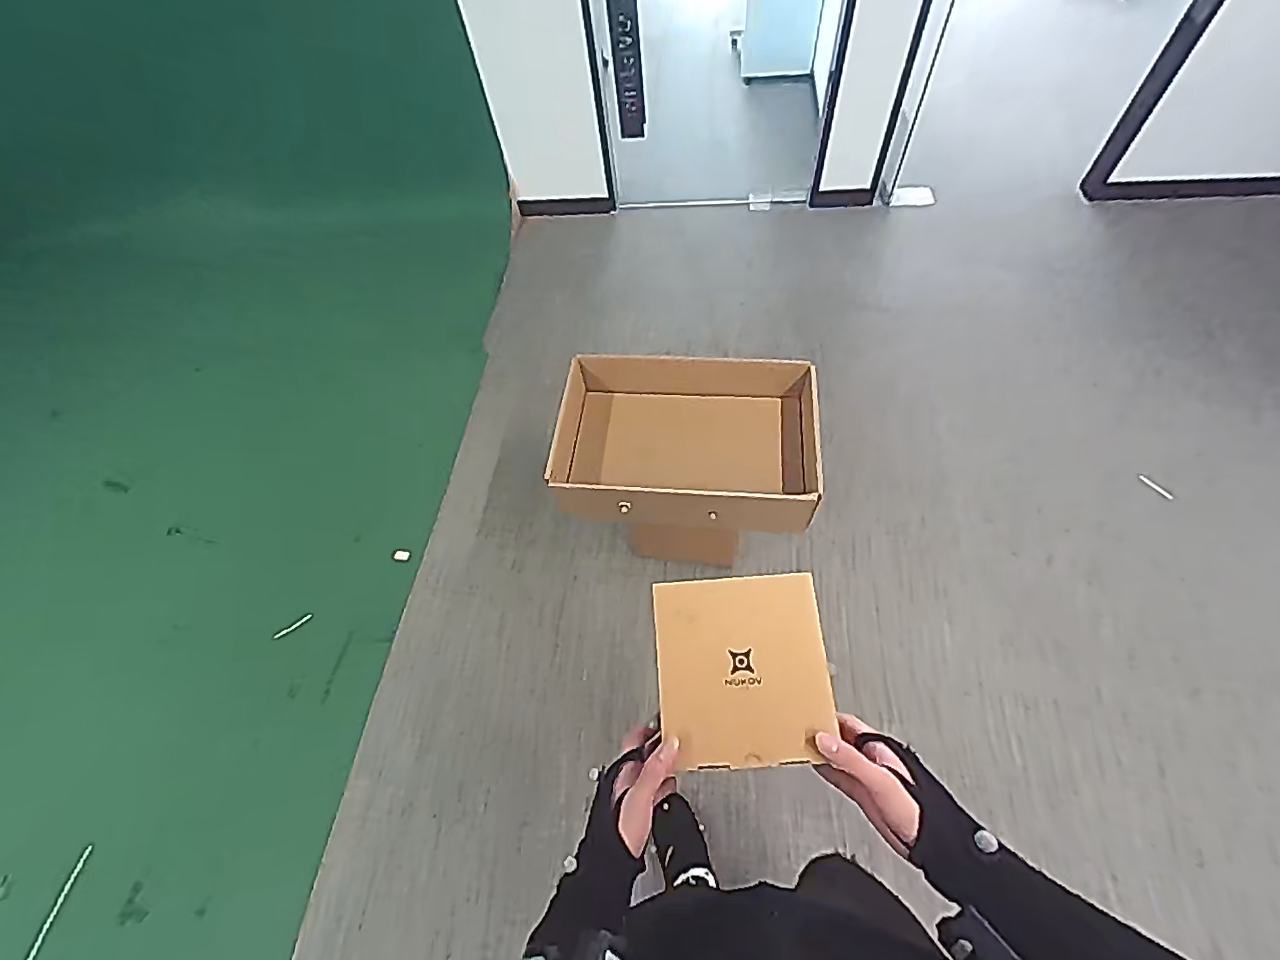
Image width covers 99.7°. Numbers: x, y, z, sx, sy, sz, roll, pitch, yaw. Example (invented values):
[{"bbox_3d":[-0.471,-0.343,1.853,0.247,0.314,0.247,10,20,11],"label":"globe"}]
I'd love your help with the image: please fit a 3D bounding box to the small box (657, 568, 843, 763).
[{"bbox_3d":[0.105,0.204,0.599,0.168,0.176,0.179,-5,69,3],"label":"small box"}]
